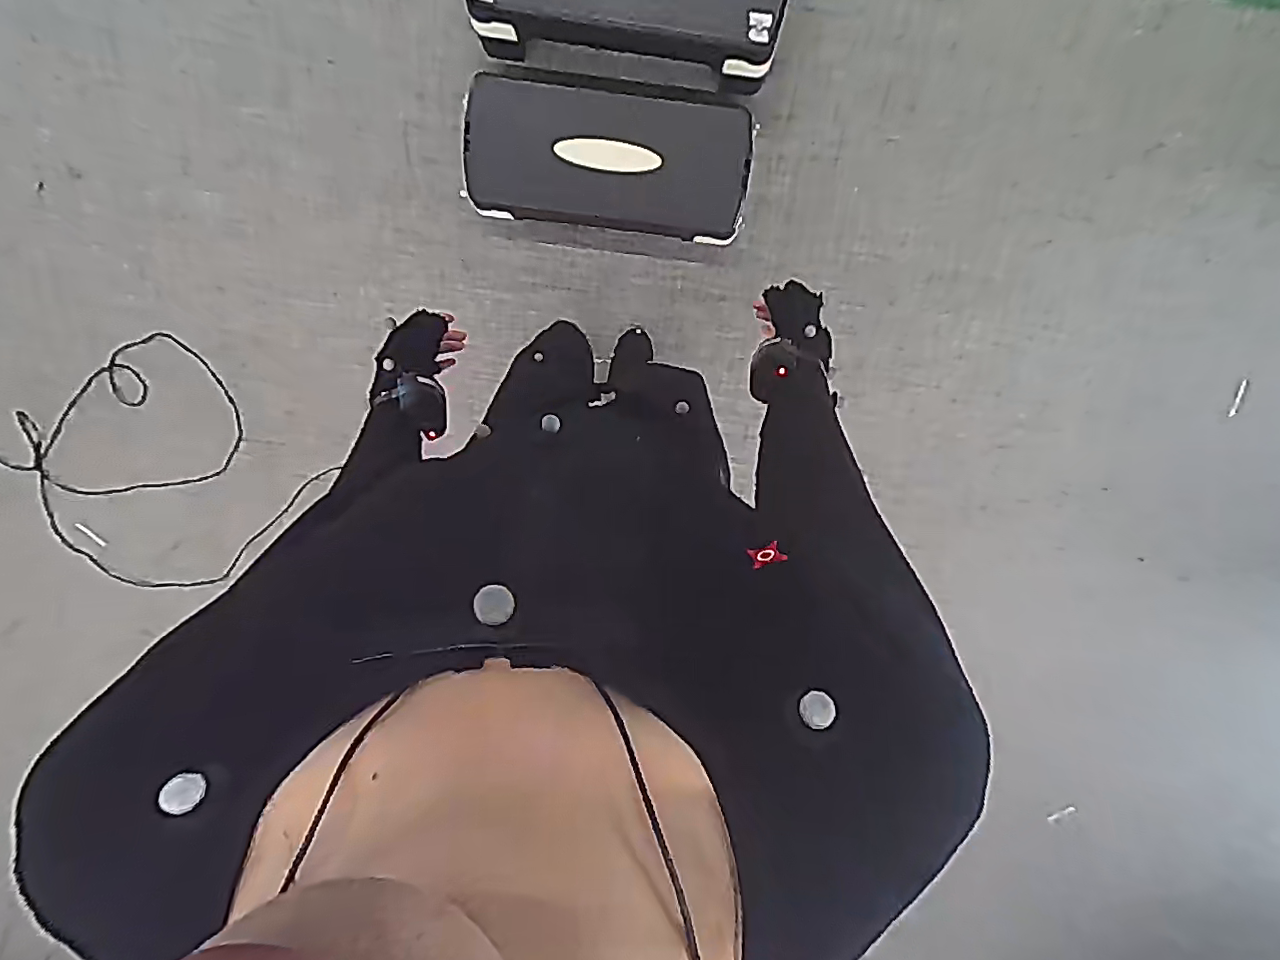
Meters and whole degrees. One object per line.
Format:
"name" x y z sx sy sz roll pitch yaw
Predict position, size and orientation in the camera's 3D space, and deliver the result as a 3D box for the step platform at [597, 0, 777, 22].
"step platform" -0.049 -1.042 0.940 0.684 0.204 0.286 7 105 -2
